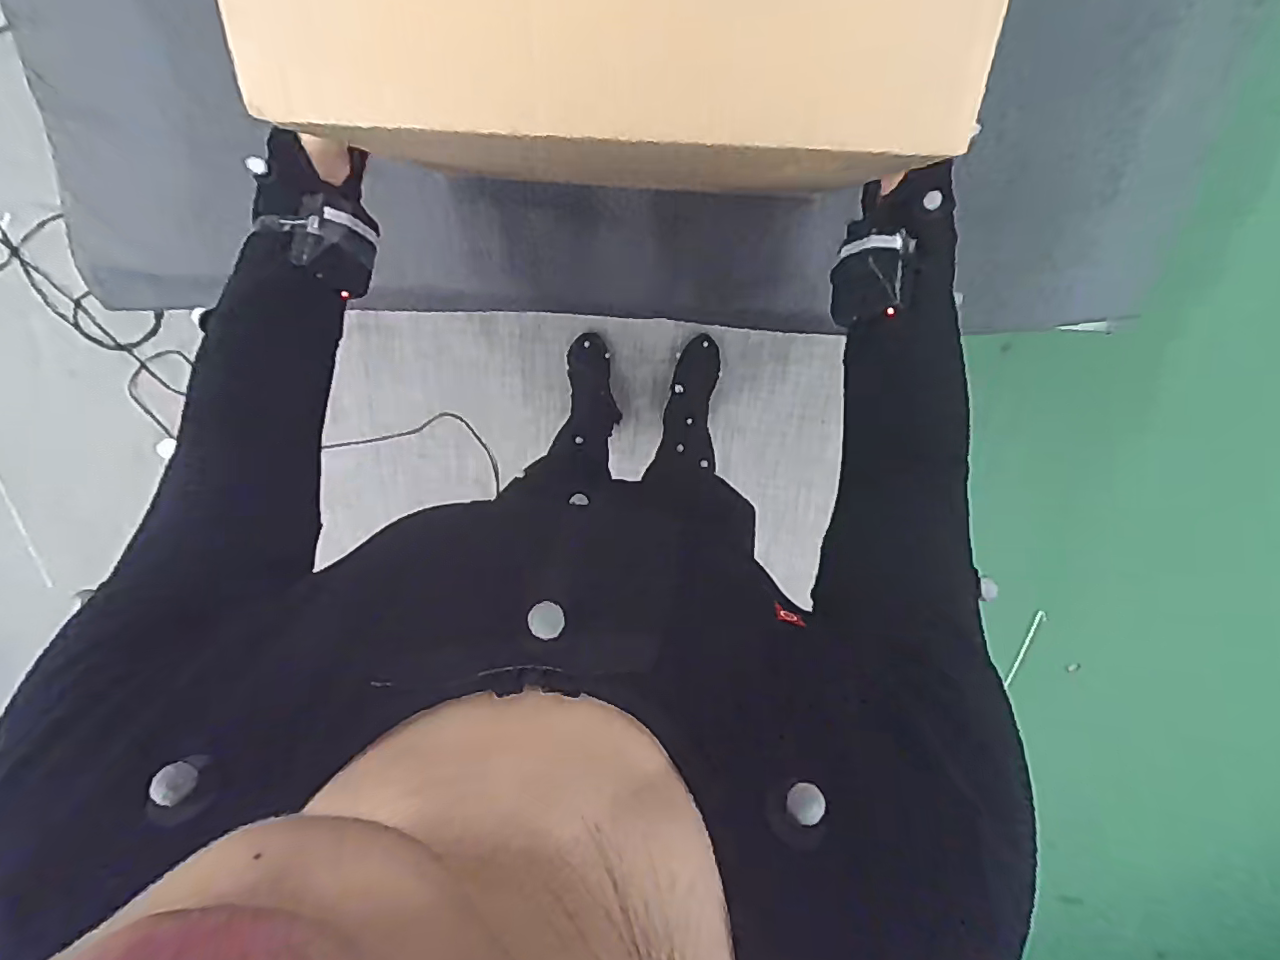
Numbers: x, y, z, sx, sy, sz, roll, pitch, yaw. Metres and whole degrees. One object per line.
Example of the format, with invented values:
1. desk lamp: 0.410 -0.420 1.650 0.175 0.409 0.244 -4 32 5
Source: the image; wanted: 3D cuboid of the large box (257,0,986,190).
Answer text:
1. large box: -0.005 -0.402 0.392 0.408 0.320 0.320 3 115 1
